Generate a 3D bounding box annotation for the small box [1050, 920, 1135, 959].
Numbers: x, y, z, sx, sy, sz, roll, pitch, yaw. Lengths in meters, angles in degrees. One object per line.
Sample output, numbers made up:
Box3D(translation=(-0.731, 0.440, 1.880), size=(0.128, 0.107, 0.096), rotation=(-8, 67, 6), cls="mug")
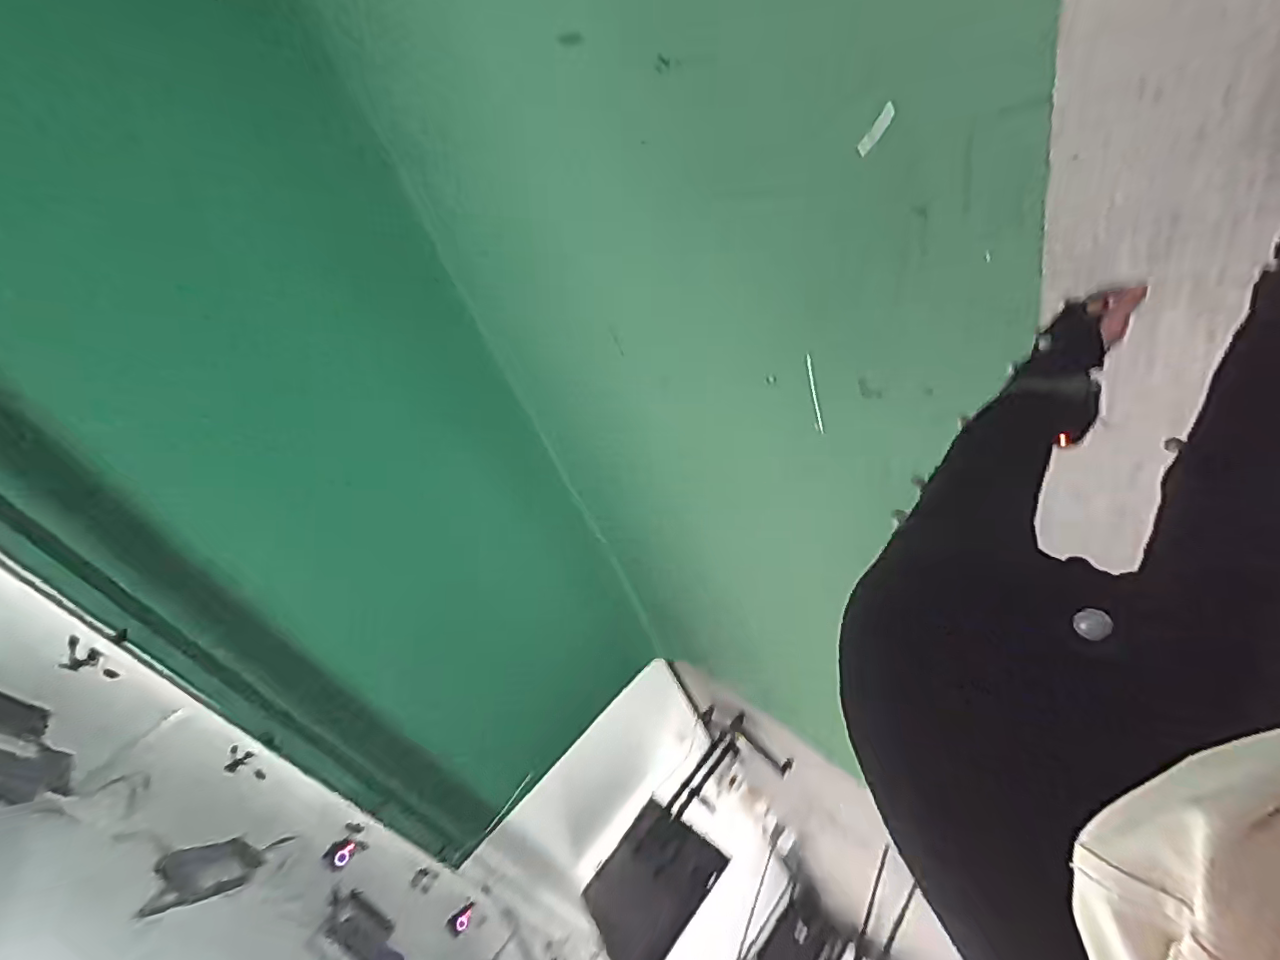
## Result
Box3D(translation=(1.054, 1.165, 1.243), size=(0.168, 0.176, 0.179), rotation=(23, 146, 42), cls="small box")
